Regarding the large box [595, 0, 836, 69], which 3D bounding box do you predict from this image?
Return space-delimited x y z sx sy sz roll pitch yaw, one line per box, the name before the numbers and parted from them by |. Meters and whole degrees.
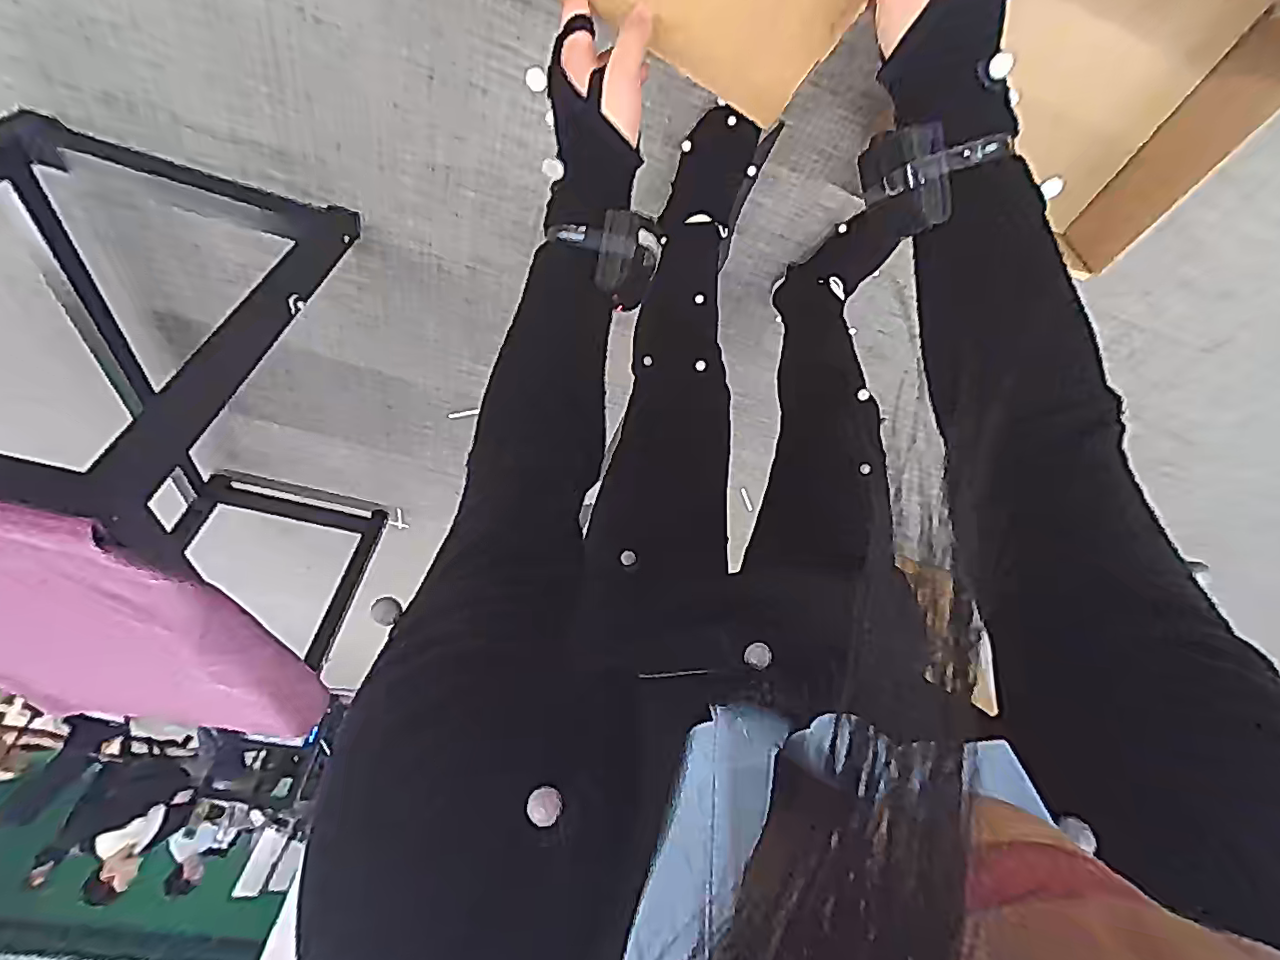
large box | 0.089 -0.701 0.489 0.320 0.320 0.408 13 143 -8
